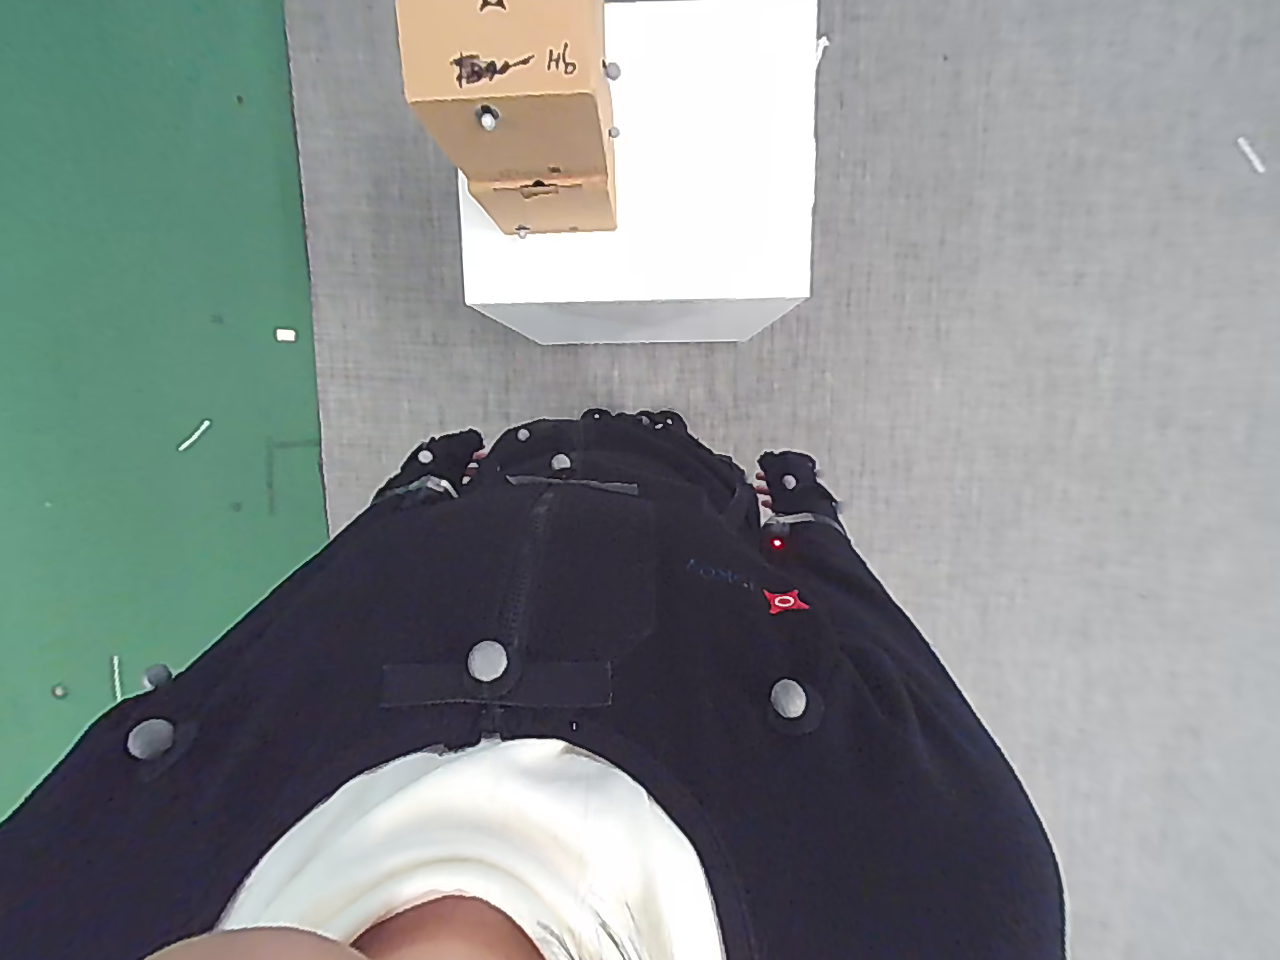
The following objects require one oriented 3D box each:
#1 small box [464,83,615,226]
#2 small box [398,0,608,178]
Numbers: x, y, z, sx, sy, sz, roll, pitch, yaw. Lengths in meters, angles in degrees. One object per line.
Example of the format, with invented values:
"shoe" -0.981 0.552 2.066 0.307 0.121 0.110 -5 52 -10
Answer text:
"small box" -0.121 -0.439 0.695 0.168 0.176 0.179 -1 97 1
"small box" -0.121 -0.427 0.532 0.168 0.176 0.179 -2 97 2
